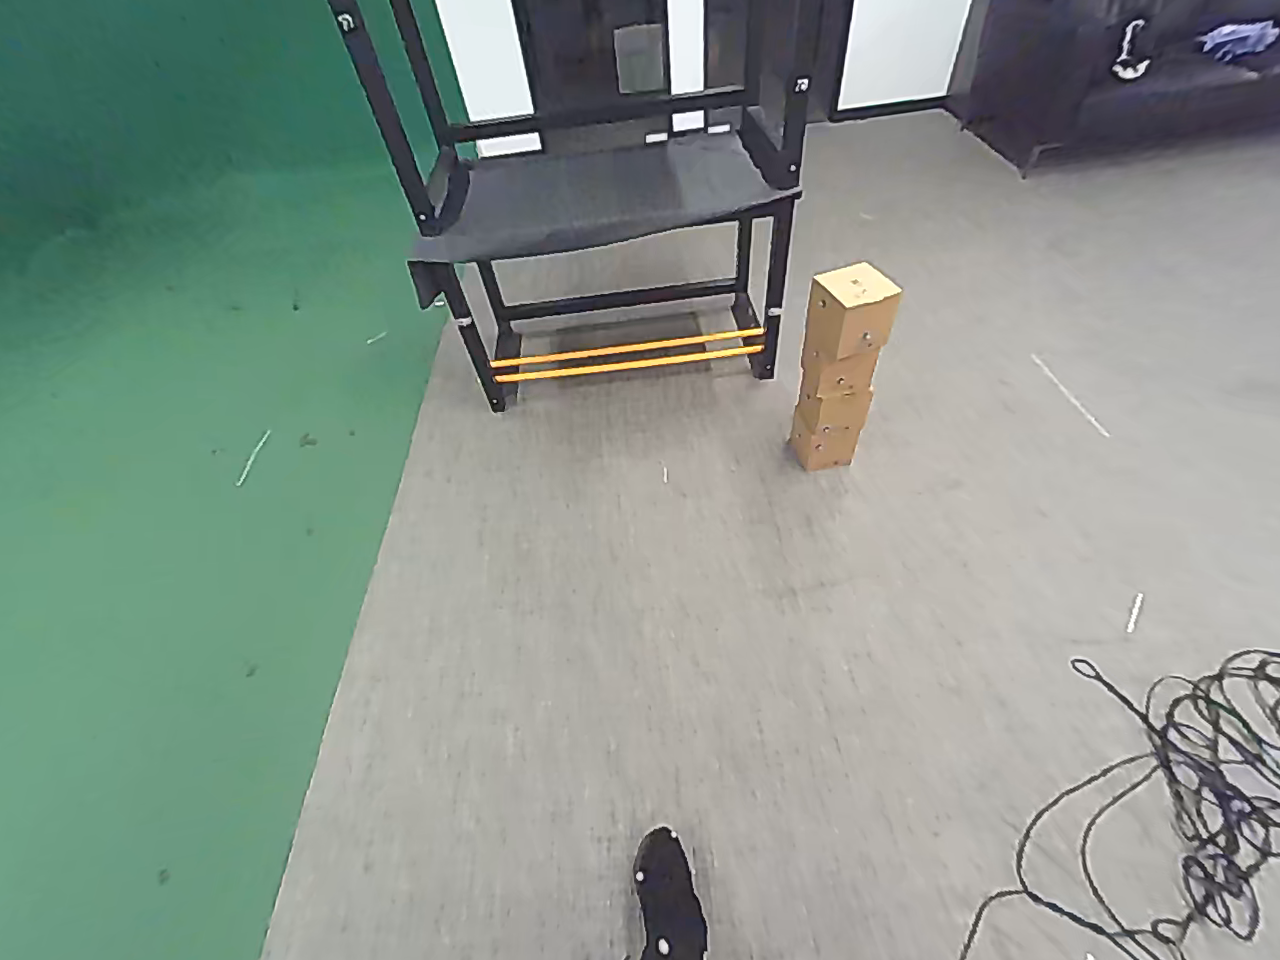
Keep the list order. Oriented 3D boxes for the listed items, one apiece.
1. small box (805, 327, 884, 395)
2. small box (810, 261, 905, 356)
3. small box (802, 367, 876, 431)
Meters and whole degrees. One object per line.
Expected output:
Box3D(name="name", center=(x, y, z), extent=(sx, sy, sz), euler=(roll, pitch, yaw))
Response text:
Box3D(name="small box", center=(0.608, -0.381, 1.633), extent=(0.168, 0.176, 0.179), euler=(-7, 49, 2))
Box3D(name="small box", center=(0.592, -0.473, 1.498), extent=(0.168, 0.176, 0.179), euler=(-17, 51, -7))
Box3D(name="small box", center=(0.637, -0.273, 1.752), extent=(0.168, 0.176, 0.179), euler=(-9, 48, 0))
